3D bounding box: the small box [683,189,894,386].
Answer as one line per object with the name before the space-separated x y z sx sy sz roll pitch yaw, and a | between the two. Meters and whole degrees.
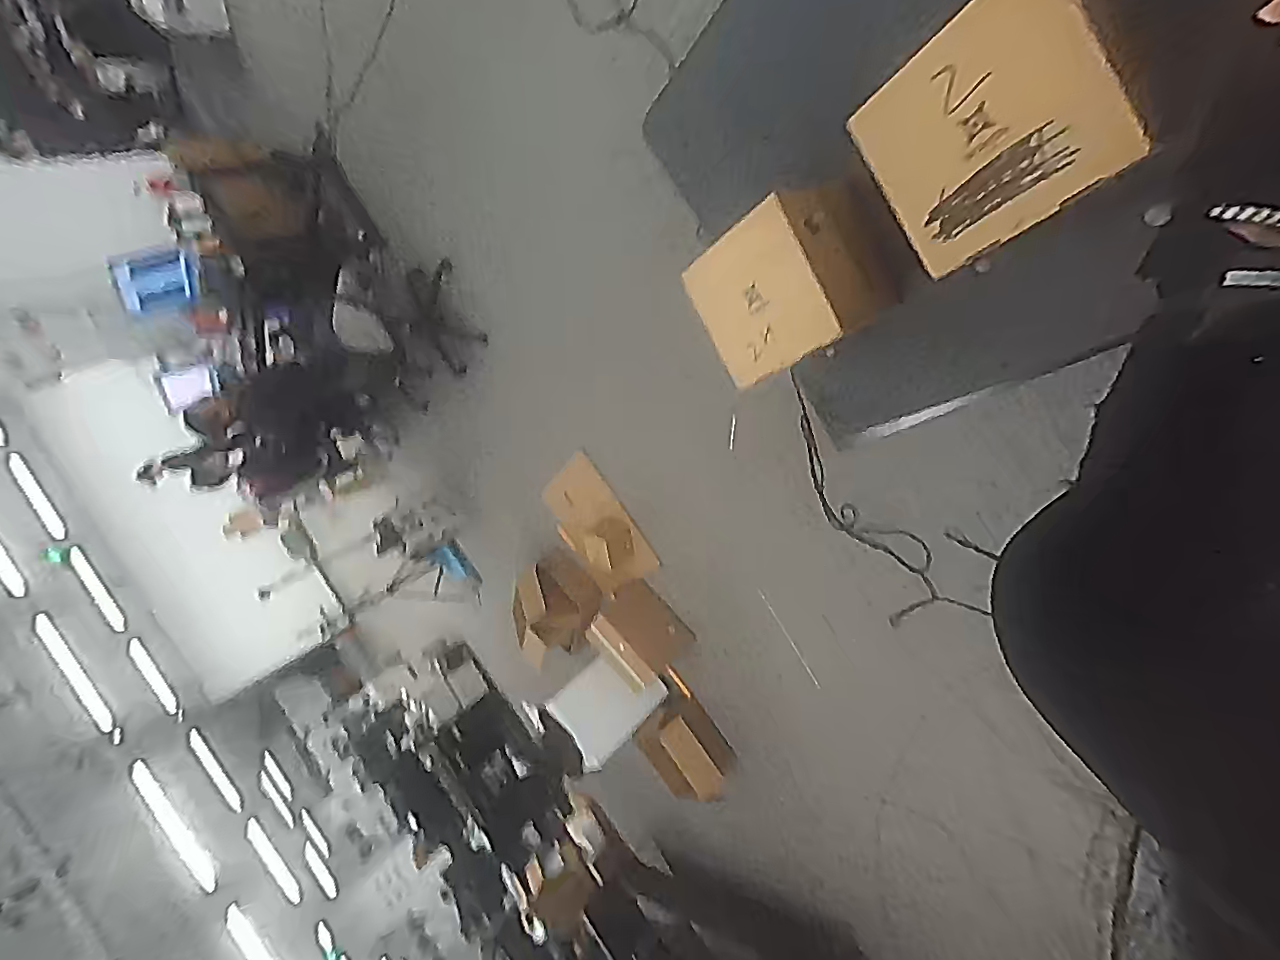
small box | 0.195 -0.251 0.705 0.168 0.176 0.179 -24 95 52
